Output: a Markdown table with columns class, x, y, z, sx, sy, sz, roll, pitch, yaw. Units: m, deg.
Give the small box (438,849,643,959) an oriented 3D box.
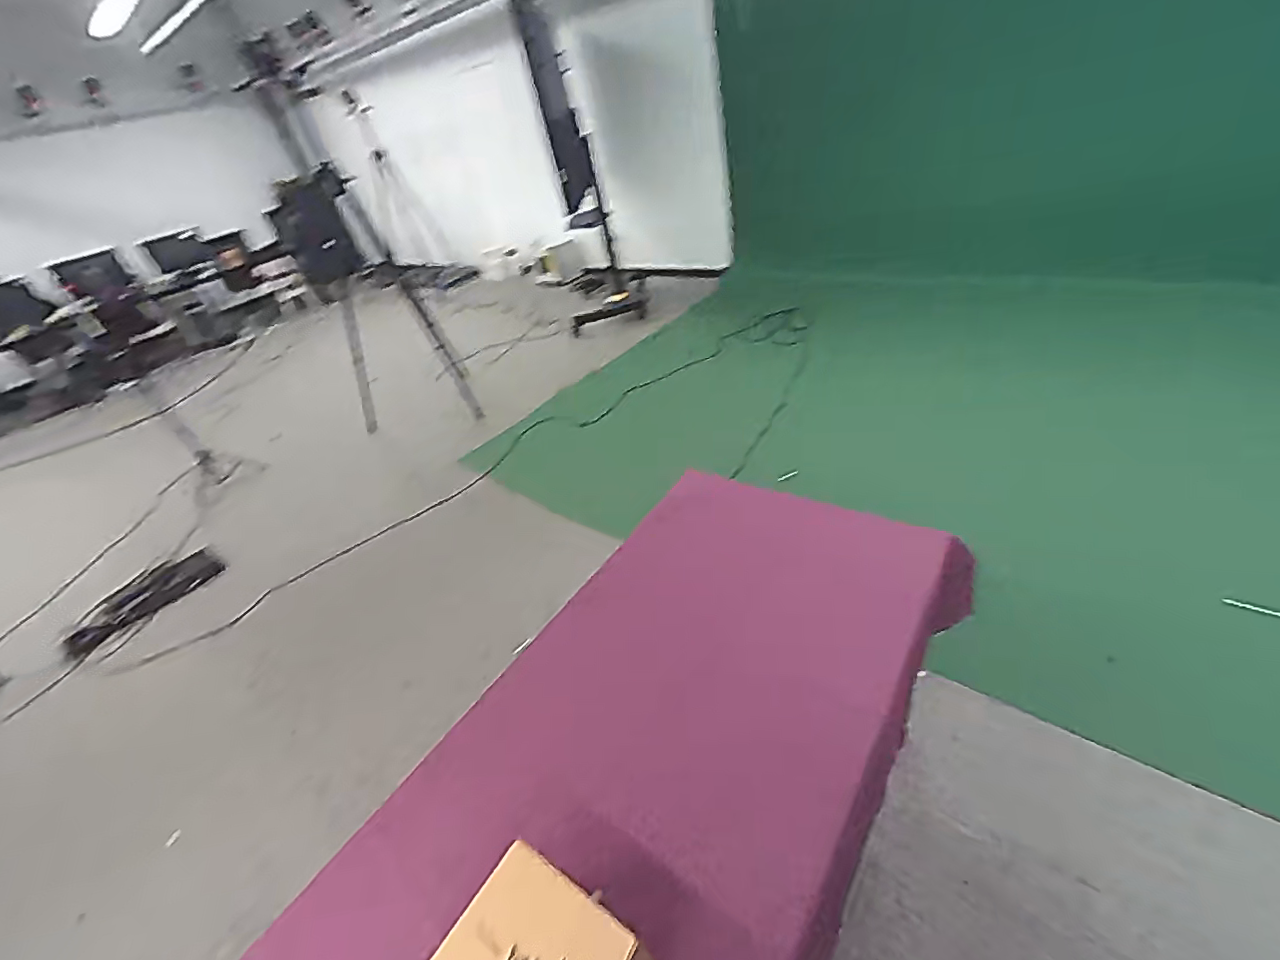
| class | x | y | z | sx | sy | sz | roll | pitch | yaw |
| --- | --- | --- | --- | --- | --- | --- | --- | --- | --- |
| small box | -0.098 | 0.543 | 0.565 | 0.179 | 0.176 | 0.168 | 13 | 43 | 34 |
